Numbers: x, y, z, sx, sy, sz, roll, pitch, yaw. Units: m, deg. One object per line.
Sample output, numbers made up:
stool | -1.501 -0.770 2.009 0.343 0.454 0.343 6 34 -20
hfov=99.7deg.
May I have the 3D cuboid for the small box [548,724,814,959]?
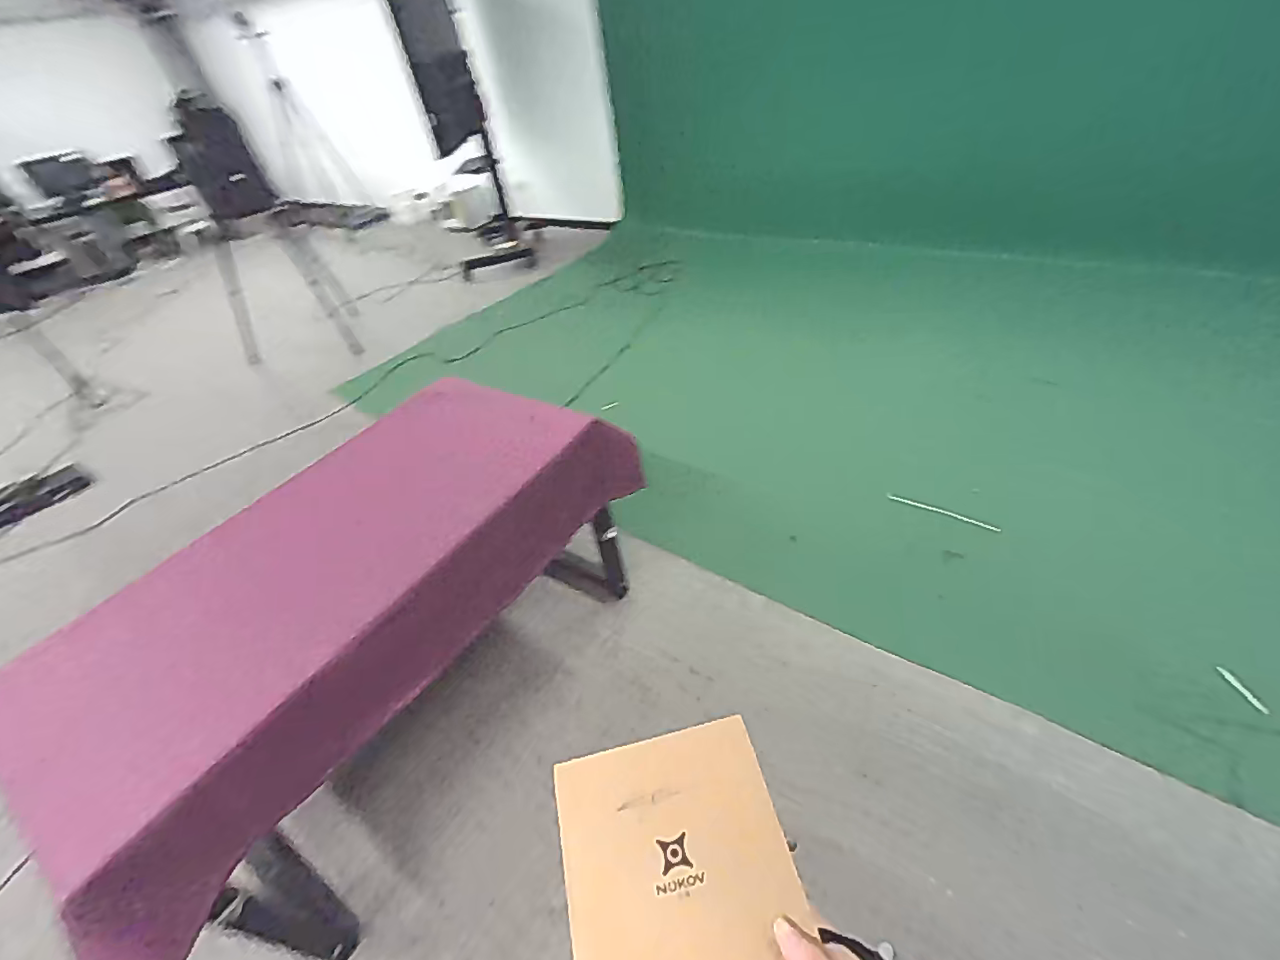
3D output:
small box | 0.027 0.339 0.453 0.168 0.176 0.179 -12 46 -7
